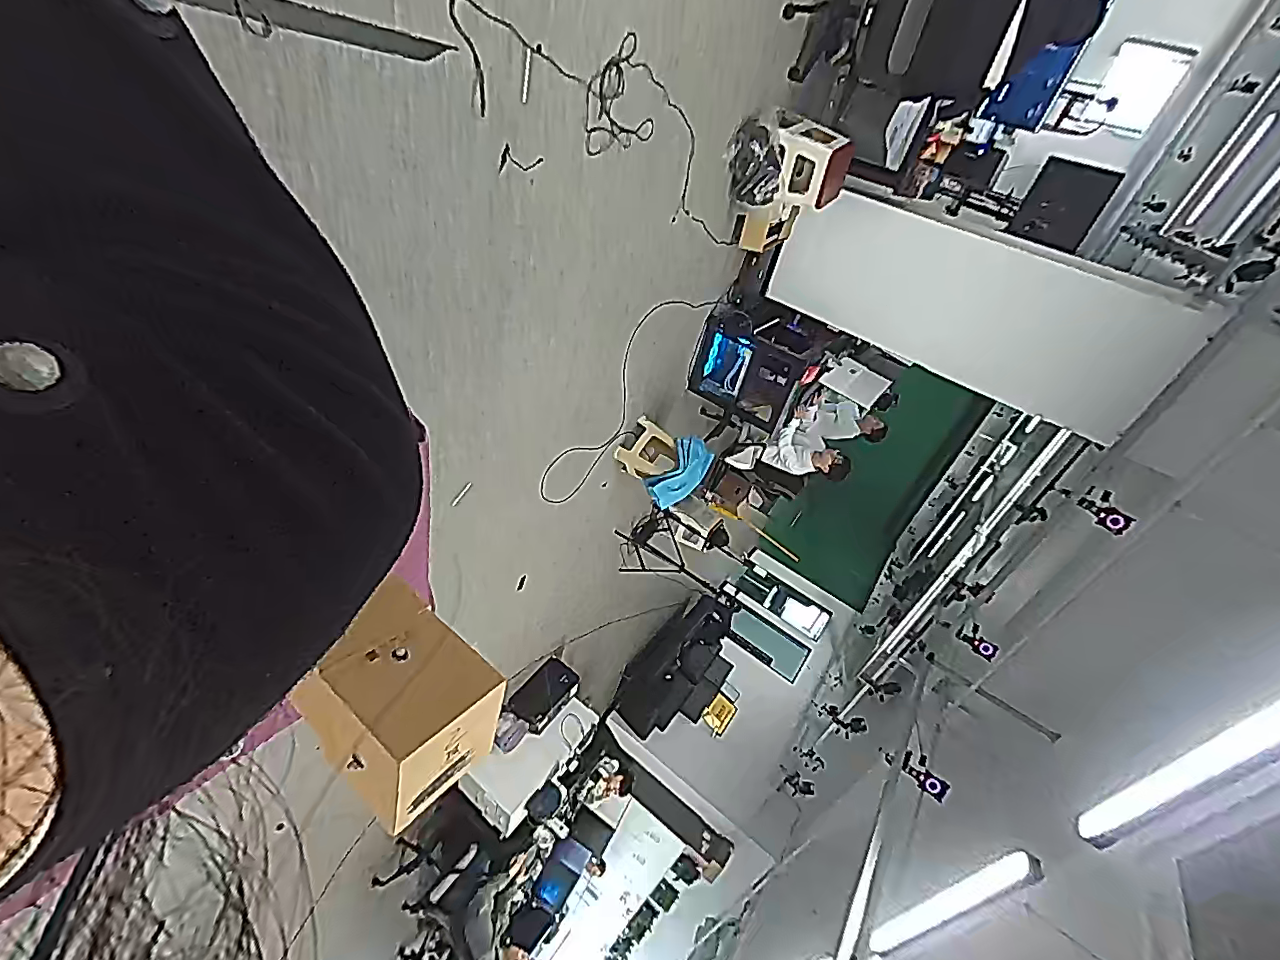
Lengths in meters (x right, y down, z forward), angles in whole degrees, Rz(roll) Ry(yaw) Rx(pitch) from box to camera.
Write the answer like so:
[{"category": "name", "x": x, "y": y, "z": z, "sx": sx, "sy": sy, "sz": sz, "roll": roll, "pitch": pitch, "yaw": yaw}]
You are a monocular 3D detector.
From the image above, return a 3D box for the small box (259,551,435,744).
[{"category": "small box", "x": -0.434, "y": 0.241, "z": 0.810, "sx": 0.168, "sy": 0.176, "sz": 0.179, "roll": -31, "pitch": 146, "yaw": -50}]
